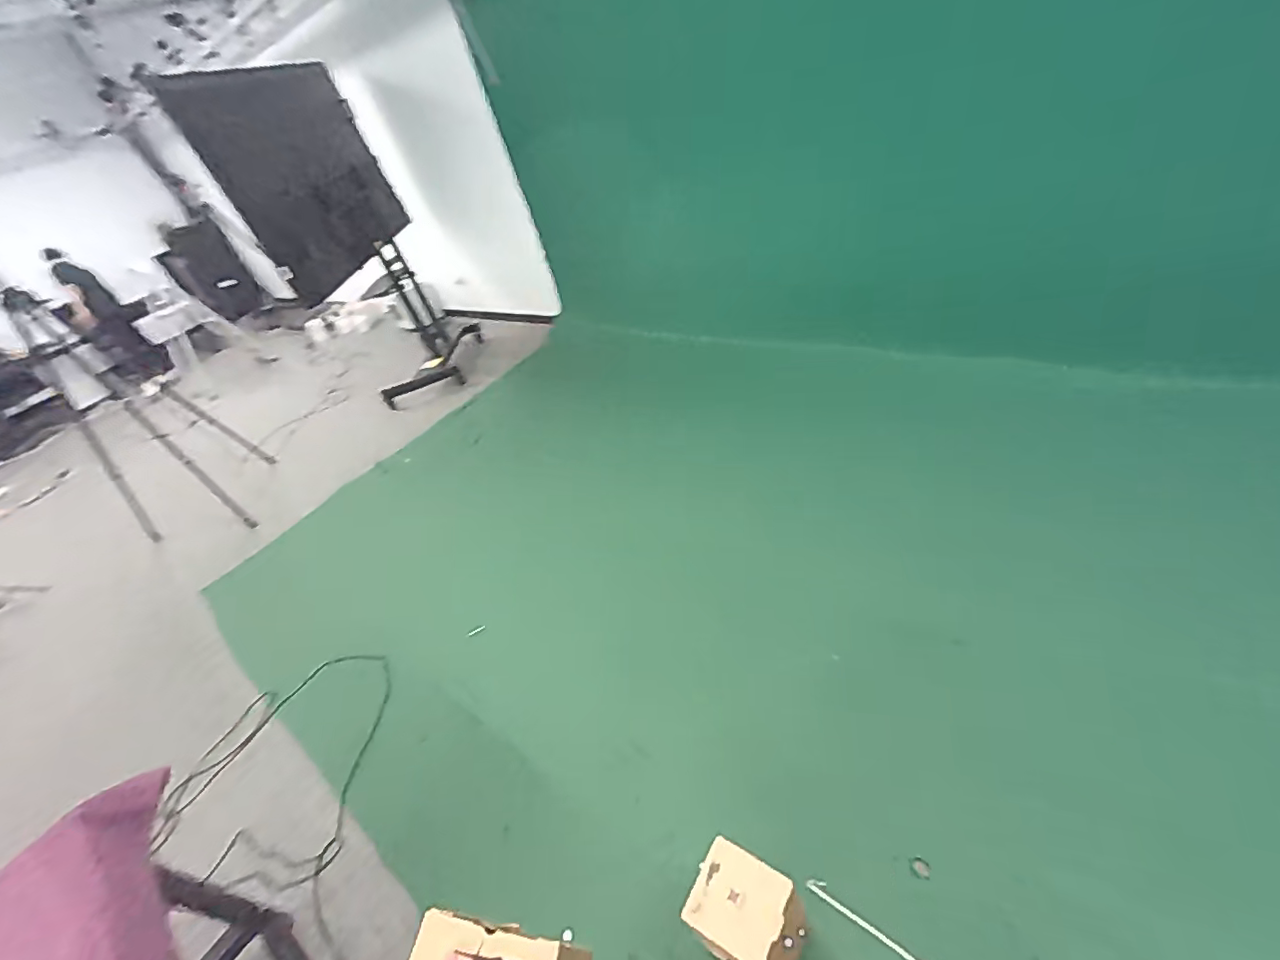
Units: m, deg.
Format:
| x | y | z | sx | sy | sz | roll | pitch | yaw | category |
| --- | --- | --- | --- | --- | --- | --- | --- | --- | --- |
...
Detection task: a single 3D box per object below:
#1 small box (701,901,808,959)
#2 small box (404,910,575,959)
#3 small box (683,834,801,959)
| x | y | z | sx | sy | sz | roll | pitch | yaw | category |
| --- | --- | --- | --- | --- | --- | --- | --- | --- | --- |
| 0.266 | 1.008 | 1.212 | 0.168 | 0.176 | 0.179 | 16 | 49 | 38 | small box |
| -0.177 | 0.617 | 0.604 | 0.168 | 0.176 | 0.179 | 2 | 49 | 15 | small box |
| 0.218 | 0.885 | 1.116 | 0.179 | 0.176 | 0.168 | 14 | 49 | 36 | small box |
